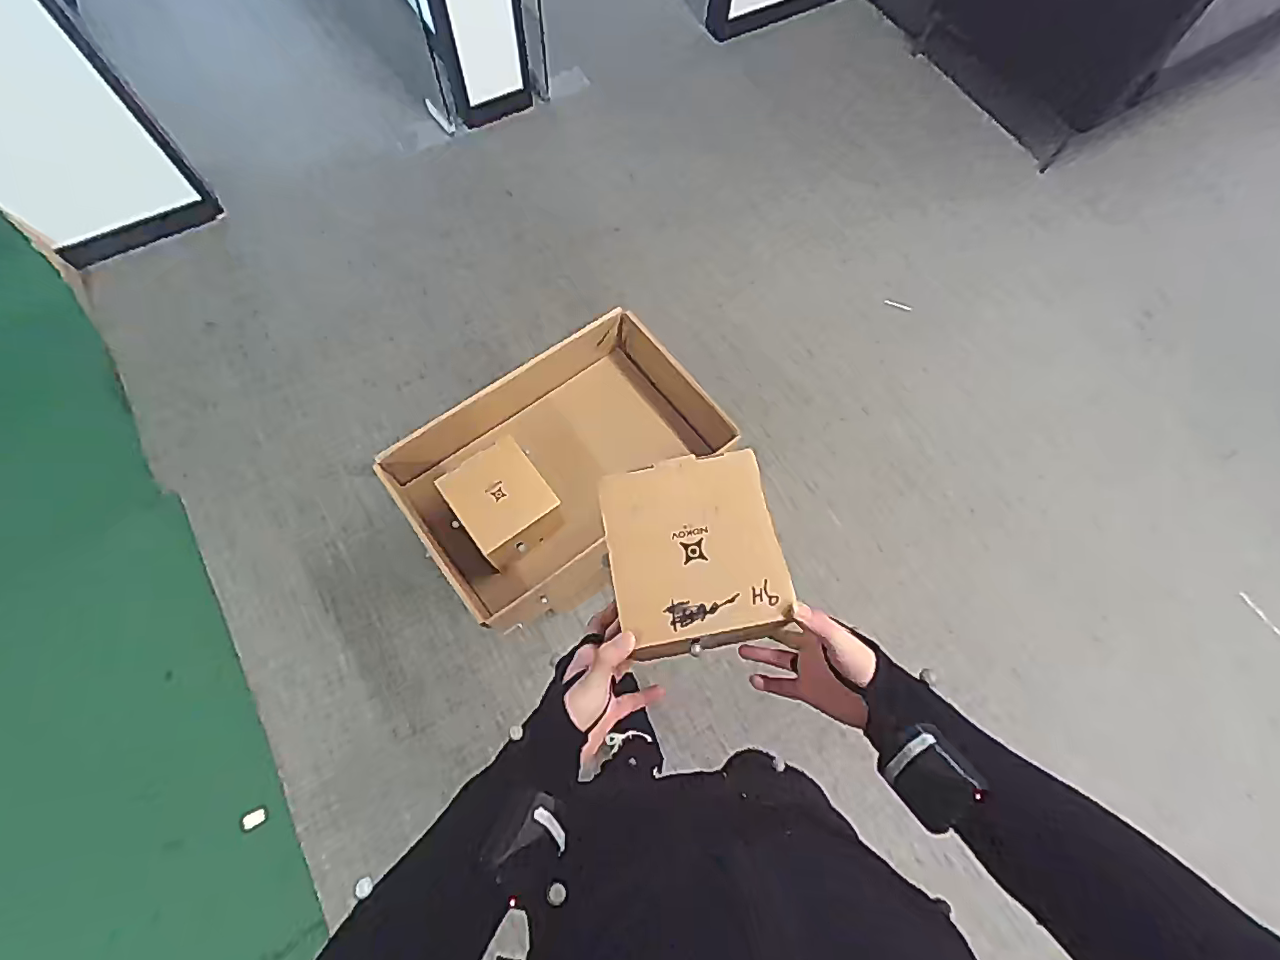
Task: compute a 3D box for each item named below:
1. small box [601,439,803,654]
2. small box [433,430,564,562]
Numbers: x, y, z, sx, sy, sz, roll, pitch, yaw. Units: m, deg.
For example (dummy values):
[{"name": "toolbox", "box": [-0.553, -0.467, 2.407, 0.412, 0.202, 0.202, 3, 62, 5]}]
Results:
[{"name": "small box", "box": [0.056, 0.080, 0.585, 0.168, 0.176, 0.179, -10, 67, -1]}, {"name": "small box", "box": [-0.261, 0.041, 1.045, 0.168, 0.176, 0.179, -35, 75, -14]}]
